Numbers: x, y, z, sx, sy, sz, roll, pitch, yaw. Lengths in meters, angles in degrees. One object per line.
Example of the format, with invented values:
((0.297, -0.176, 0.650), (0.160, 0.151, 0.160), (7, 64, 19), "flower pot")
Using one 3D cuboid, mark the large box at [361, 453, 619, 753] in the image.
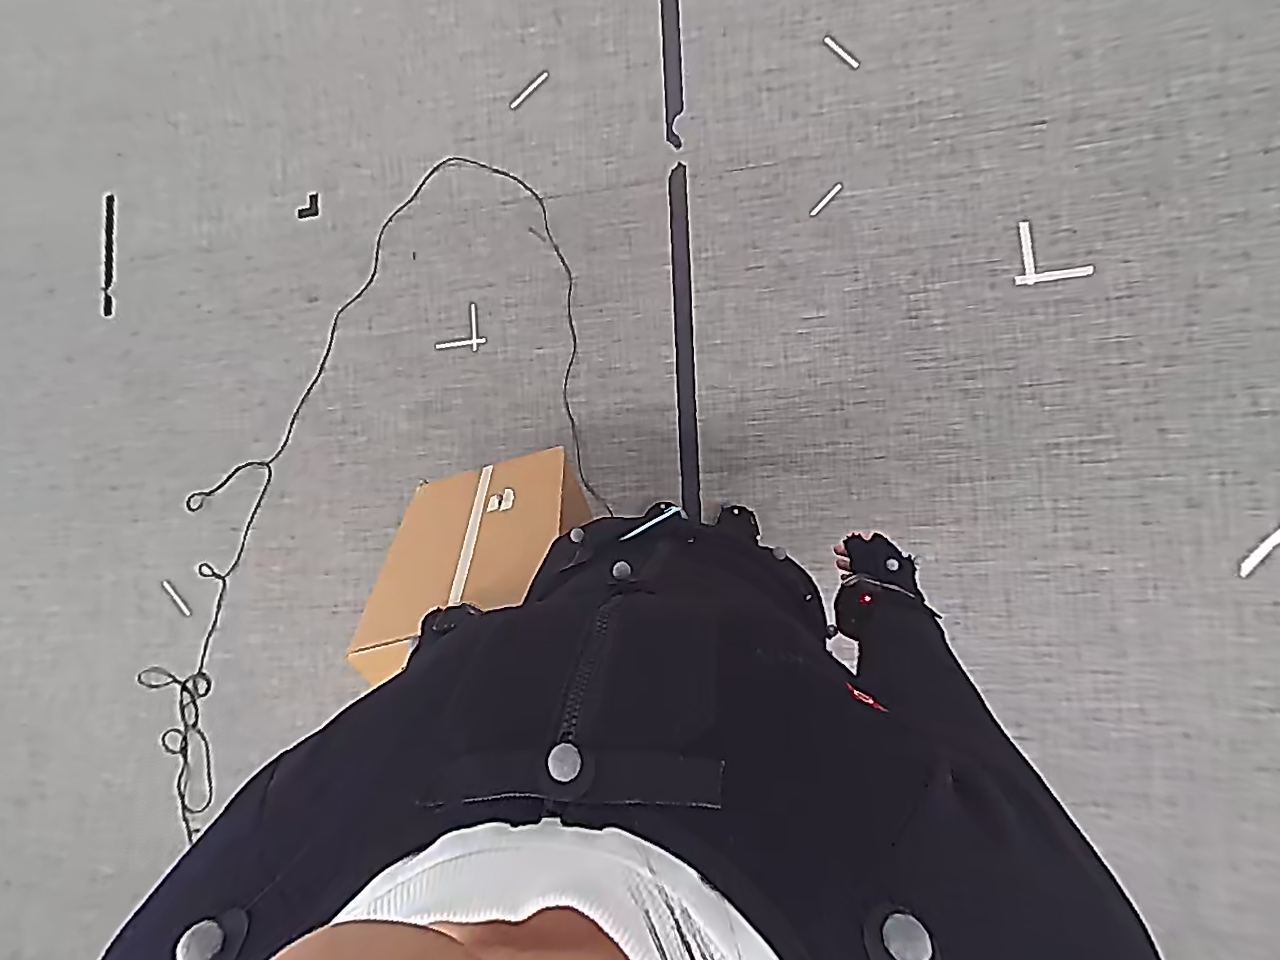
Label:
((-0.235, 0.212, 1.002), (0.320, 0.408, 0.320), (-14, 125, 4), "large box")
